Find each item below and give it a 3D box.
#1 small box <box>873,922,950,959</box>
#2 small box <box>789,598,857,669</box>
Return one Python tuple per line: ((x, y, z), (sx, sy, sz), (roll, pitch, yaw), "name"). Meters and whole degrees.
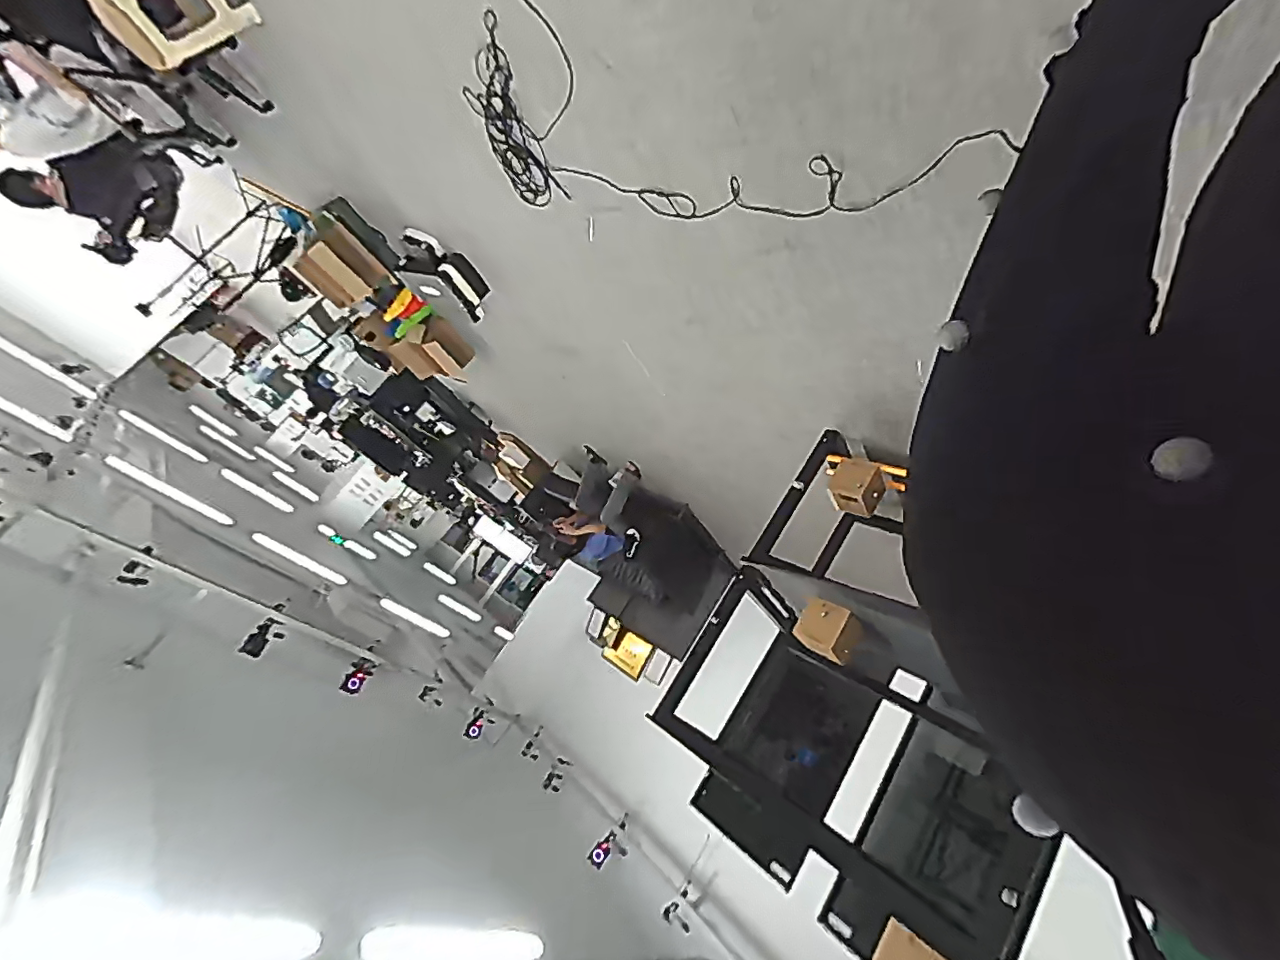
((0.712, 1.294, 1.405), (0.168, 0.176, 0.179), (19, 158, 47), "small box")
((0.702, 0.580, 2.055), (0.168, 0.176, 0.179), (17, 157, 46), "small box")
